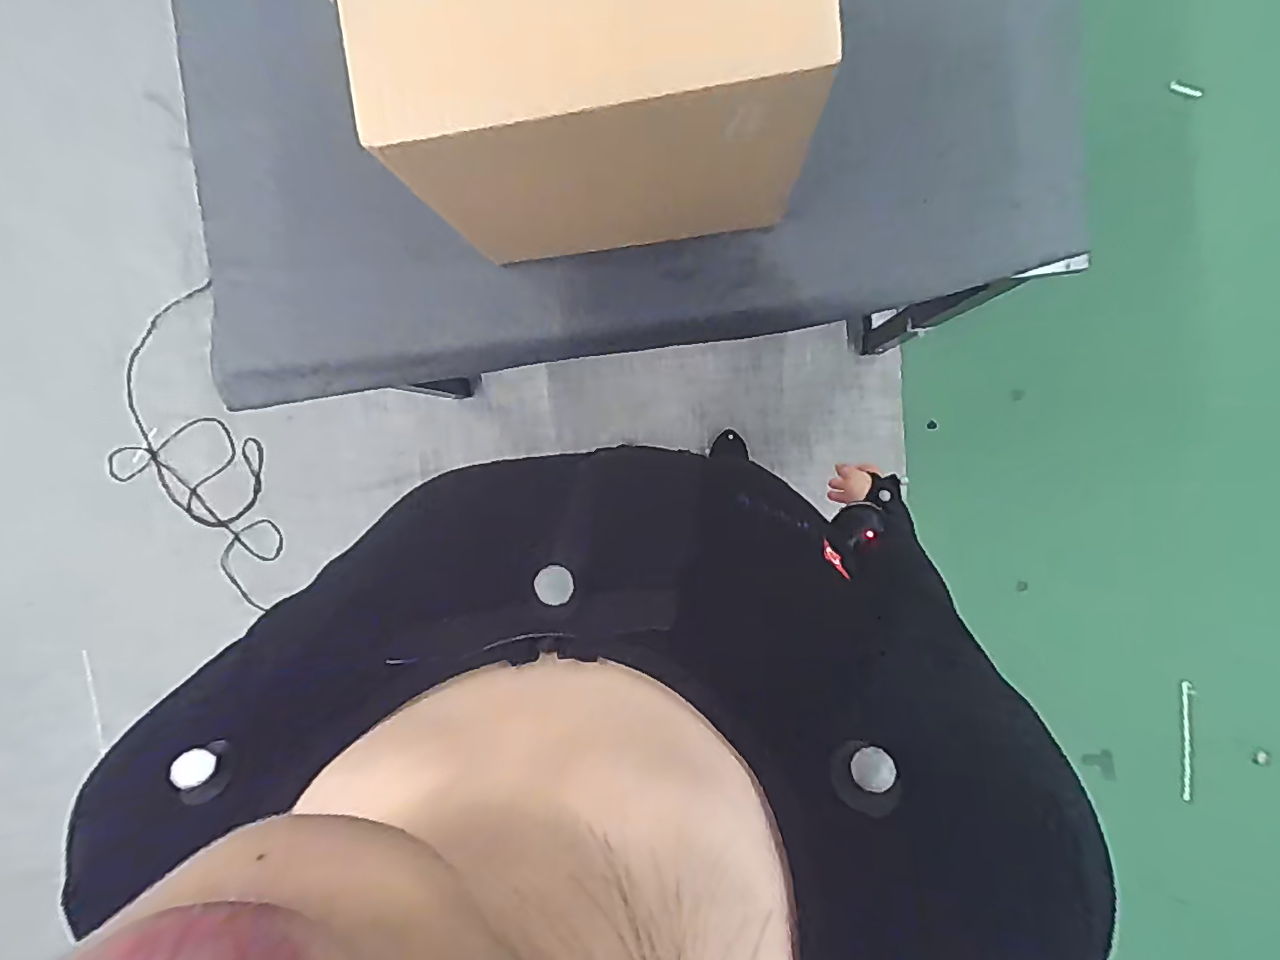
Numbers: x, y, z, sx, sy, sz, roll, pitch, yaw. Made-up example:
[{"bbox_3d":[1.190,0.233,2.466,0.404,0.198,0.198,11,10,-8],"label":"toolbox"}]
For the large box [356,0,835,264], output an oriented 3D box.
[{"bbox_3d":[-0.042,-0.471,0.600,0.408,0.320,0.320,-6,93,6],"label":"large box"}]
